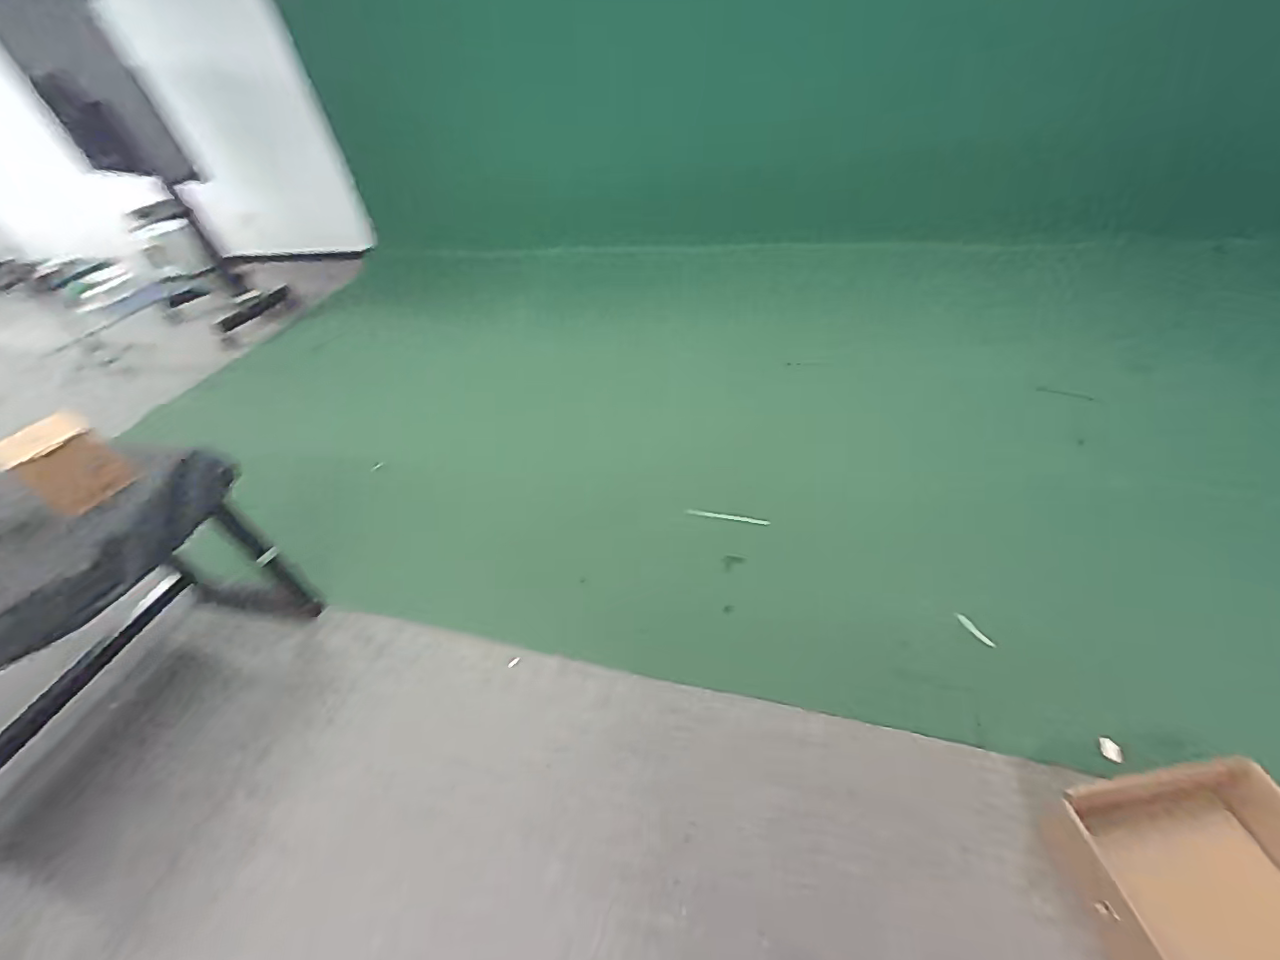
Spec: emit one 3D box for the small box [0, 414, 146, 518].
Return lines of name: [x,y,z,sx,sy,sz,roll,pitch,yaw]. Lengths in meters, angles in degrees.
small box: [-1.362,-0.032,1.305,0.179,0.176,0.168,15,47,28]
